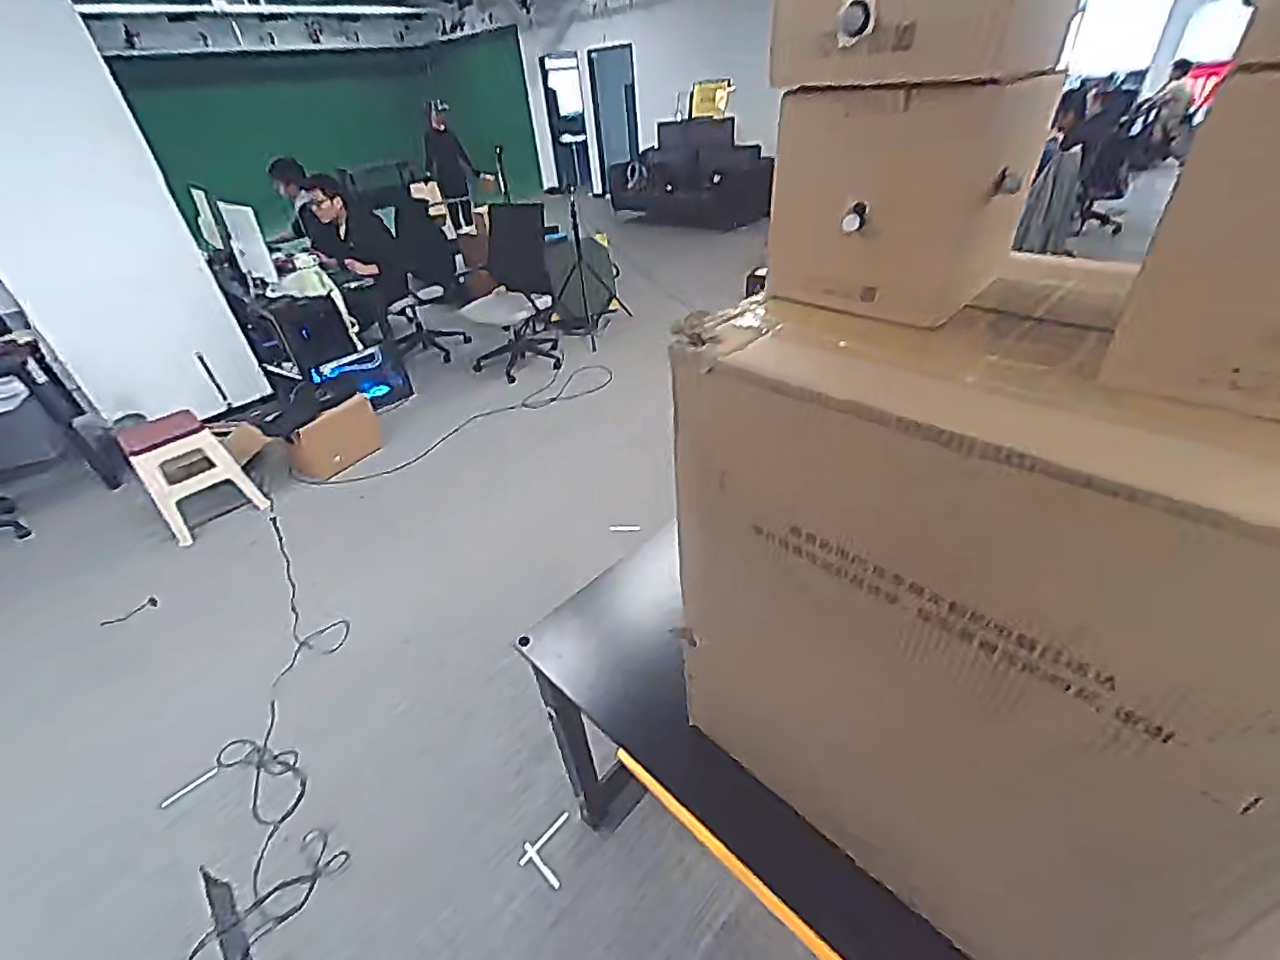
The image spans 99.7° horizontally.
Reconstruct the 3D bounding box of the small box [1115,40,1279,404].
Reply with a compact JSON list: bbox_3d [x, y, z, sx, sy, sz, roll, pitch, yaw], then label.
[{"bbox_3d":[0.409,-0.147,0.301,0.168,0.176,0.179,26,47,38],"label":"small box"}]

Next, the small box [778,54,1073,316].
[{"bbox_3d":[0.238,-0.261,0.482,0.168,0.176,0.179,28,48,35],"label":"small box"}]

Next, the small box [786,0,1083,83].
[{"bbox_3d":[0.216,-0.386,0.377,0.168,0.176,0.179,26,47,35],"label":"small box"}]
